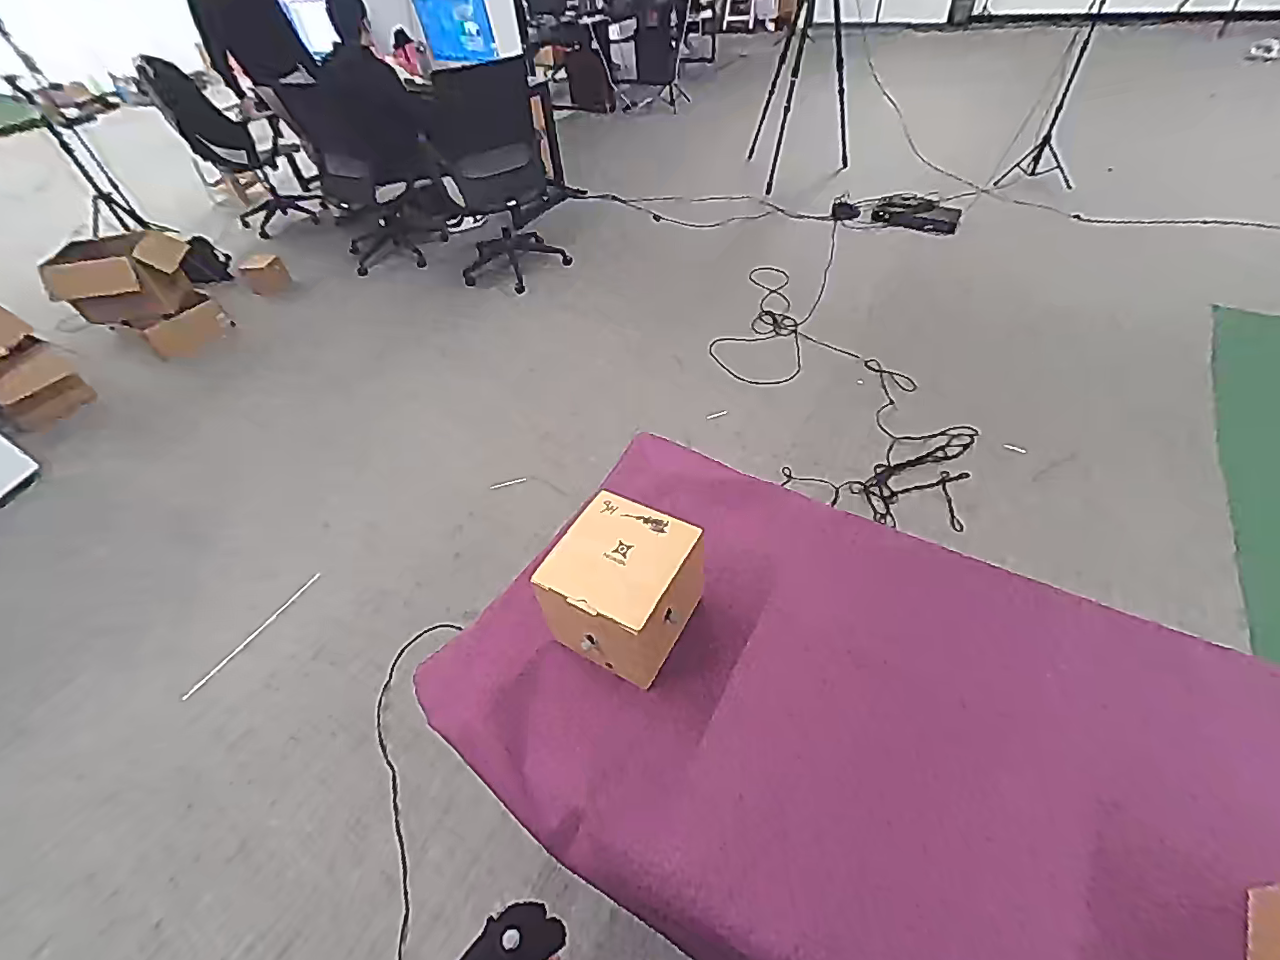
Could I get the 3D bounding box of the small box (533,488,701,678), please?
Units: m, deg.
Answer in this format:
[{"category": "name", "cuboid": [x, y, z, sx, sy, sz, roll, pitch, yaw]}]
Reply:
[{"category": "small box", "cuboid": [-0.020, 0.148, 0.767, 0.168, 0.176, 0.179, 21, 53, 23]}]
